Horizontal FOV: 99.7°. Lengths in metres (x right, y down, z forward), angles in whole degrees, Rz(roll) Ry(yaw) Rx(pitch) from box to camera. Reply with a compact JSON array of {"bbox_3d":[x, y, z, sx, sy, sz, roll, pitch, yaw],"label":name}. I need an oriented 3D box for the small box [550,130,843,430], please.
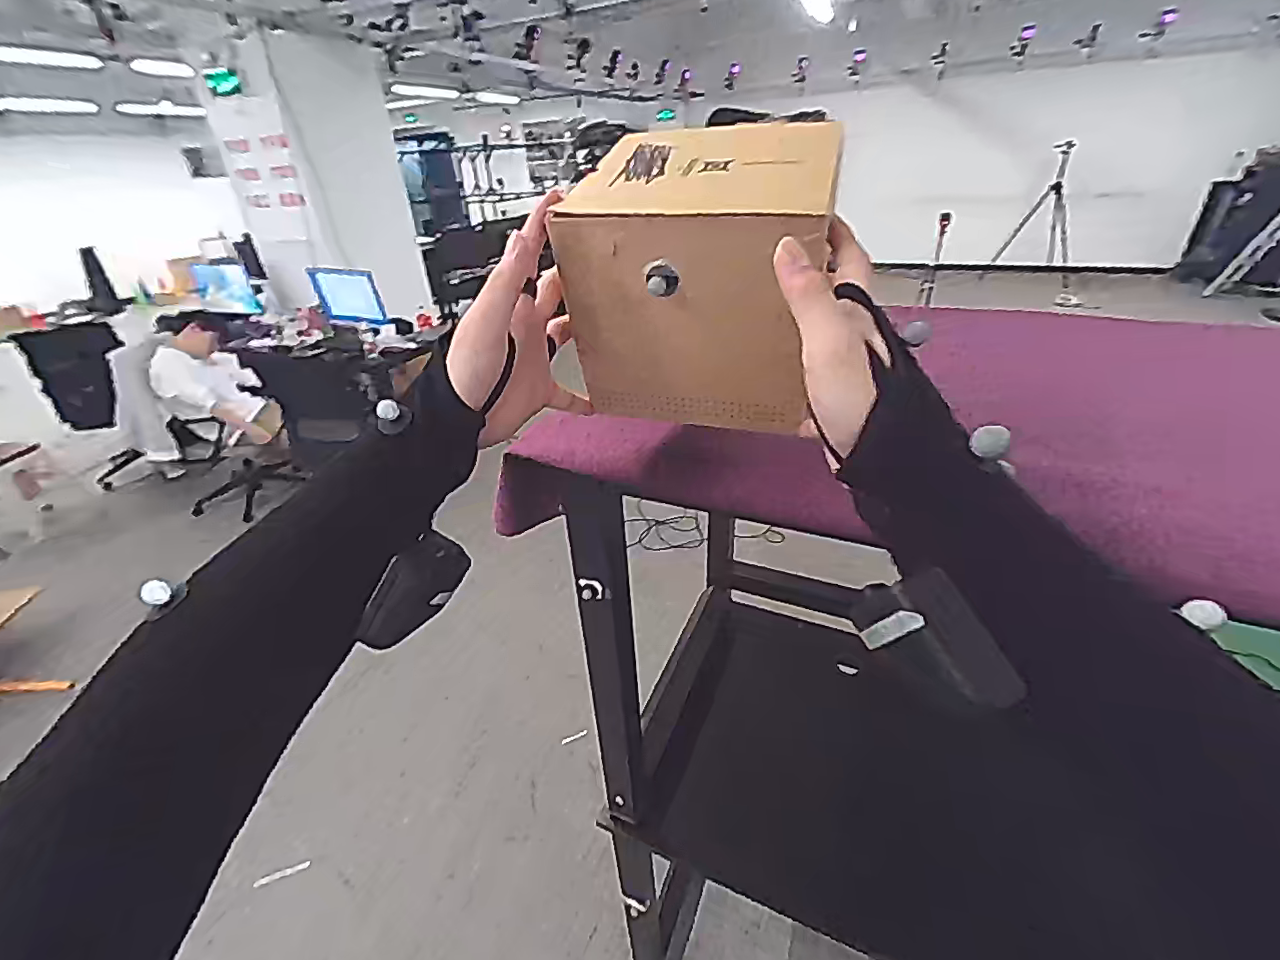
[{"bbox_3d":[0.056,-0.157,0.435,0.179,0.176,0.168,8,49,17],"label":"small box"}]
